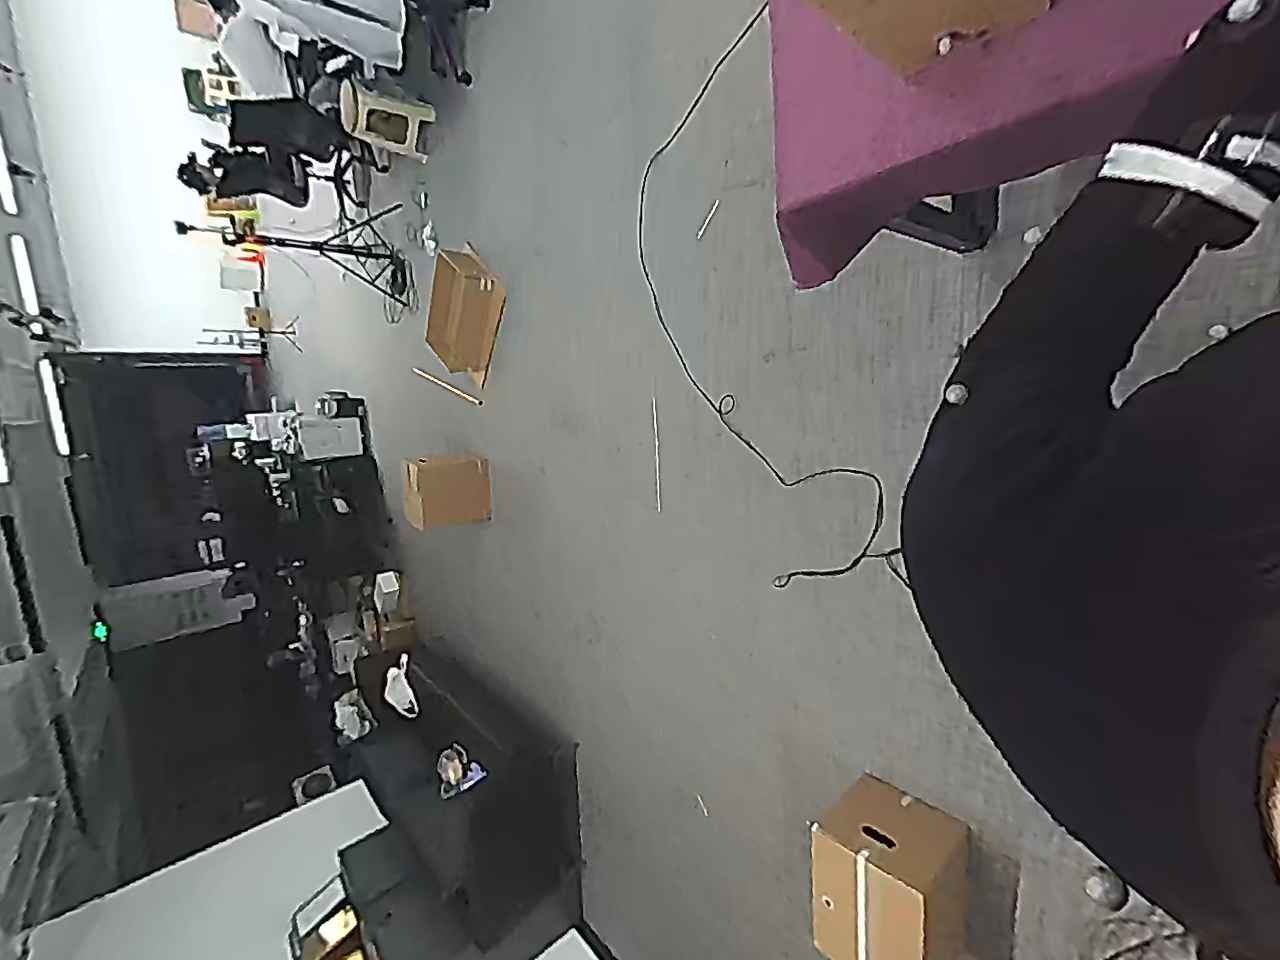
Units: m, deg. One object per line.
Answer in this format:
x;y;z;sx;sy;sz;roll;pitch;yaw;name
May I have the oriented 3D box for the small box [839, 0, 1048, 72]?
0.340;-0.604;0.595;0.168;0.176;0.179;9;106;48;small box
